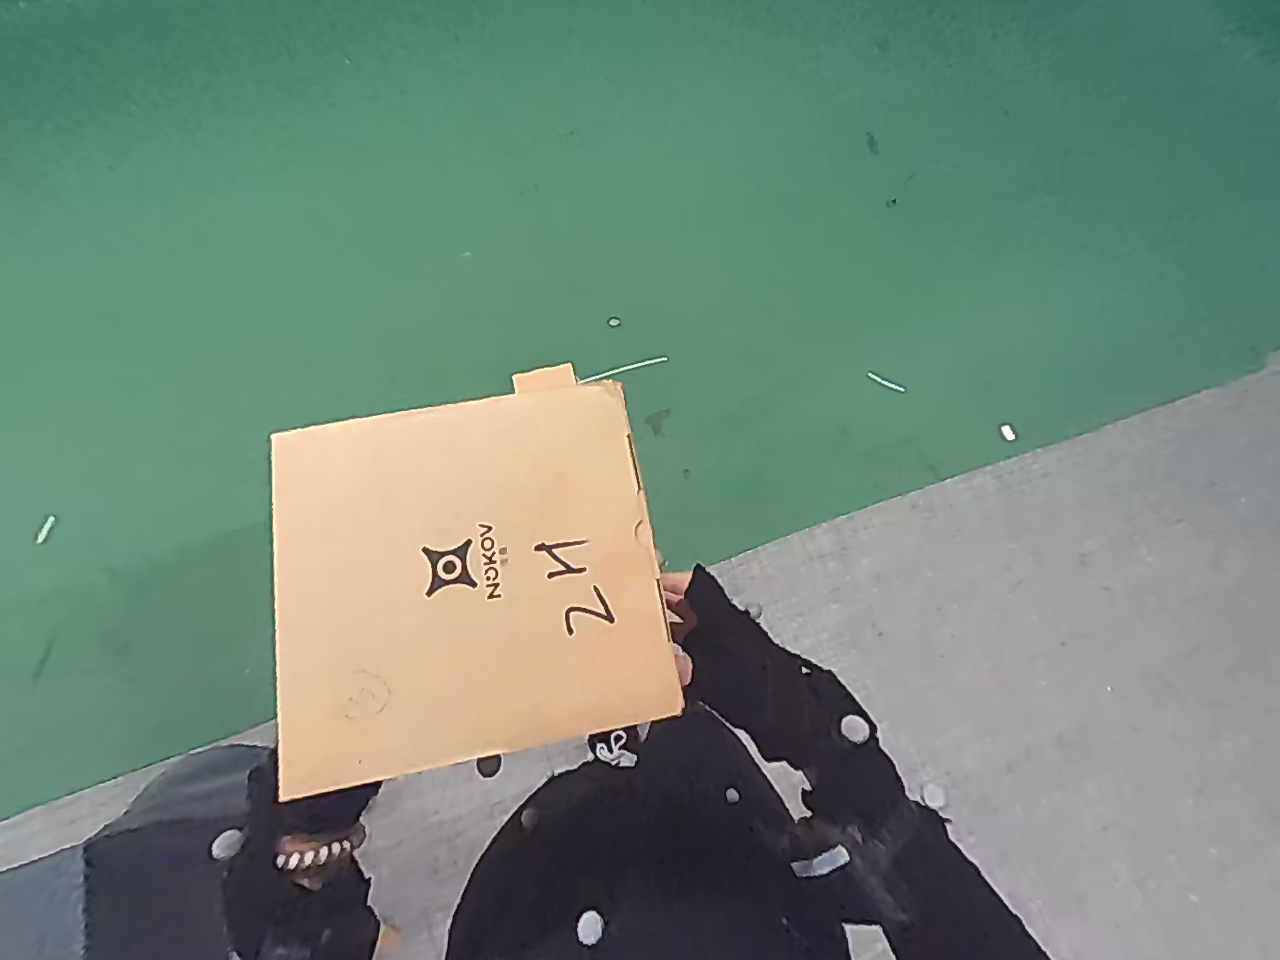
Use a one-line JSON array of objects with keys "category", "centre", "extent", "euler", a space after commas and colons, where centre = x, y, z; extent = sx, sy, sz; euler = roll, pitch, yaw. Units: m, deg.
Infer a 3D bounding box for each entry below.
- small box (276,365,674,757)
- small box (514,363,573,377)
[{"category": "small box", "centre": [-0.085, 0.051, 0.333], "extent": [0.179, 0.176, 0.168], "euler": [-9, 76, -6]}, {"category": "small box", "centre": [-0.244, -0.196, 1.517], "extent": [0.168, 0.176, 0.179], "euler": [-13, 69, -6]}]
